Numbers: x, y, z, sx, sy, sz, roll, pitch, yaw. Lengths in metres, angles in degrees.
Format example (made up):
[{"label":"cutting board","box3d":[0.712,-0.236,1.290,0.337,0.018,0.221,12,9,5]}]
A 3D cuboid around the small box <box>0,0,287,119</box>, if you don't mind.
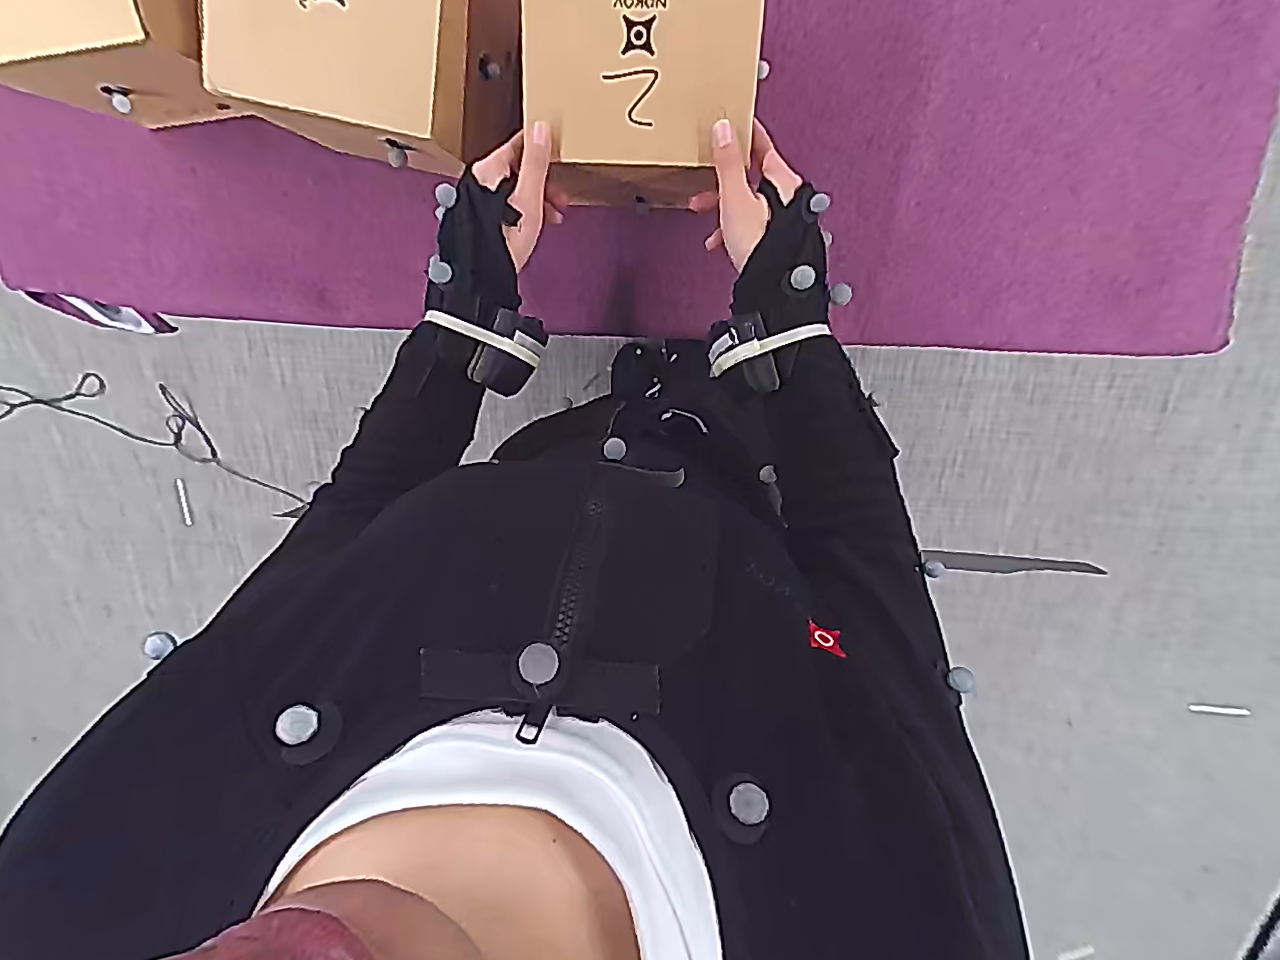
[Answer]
[{"label":"small box","box3d":[-0.439,-0.425,0.450,0.168,0.176,0.179,-4,108,6]}]
